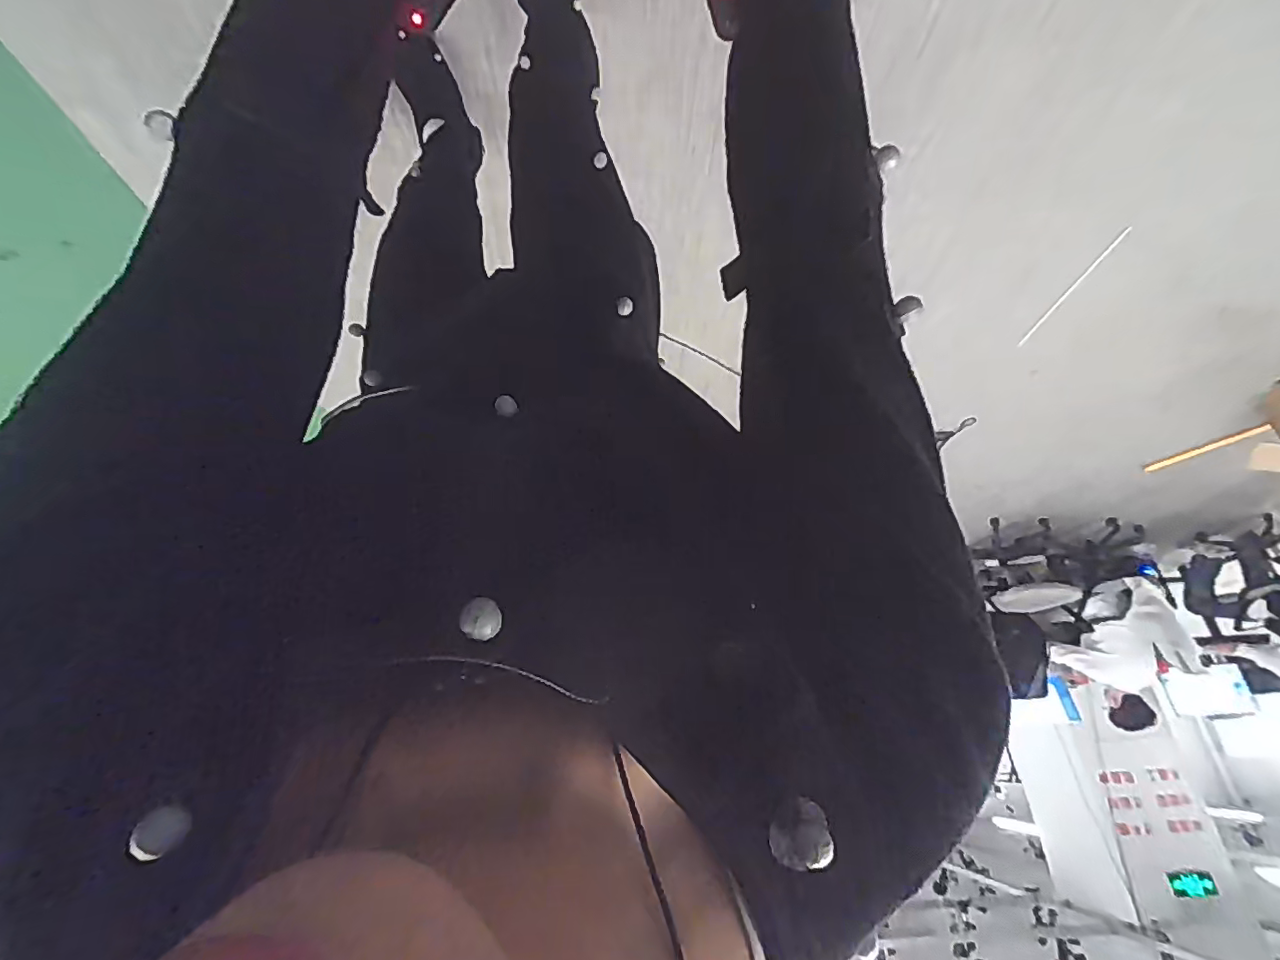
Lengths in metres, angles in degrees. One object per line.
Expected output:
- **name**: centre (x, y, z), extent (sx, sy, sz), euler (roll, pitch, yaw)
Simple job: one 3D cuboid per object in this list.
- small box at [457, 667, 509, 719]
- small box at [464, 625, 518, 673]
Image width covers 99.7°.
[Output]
- **small box**: centre (-0.598, 0.819, 2.081), extent (0.179, 0.176, 0.168), euler (2, 154, -11)
- **small box**: centre (-0.592, 0.682, 2.176), extent (0.168, 0.176, 0.179), euler (-5, 154, 2)
